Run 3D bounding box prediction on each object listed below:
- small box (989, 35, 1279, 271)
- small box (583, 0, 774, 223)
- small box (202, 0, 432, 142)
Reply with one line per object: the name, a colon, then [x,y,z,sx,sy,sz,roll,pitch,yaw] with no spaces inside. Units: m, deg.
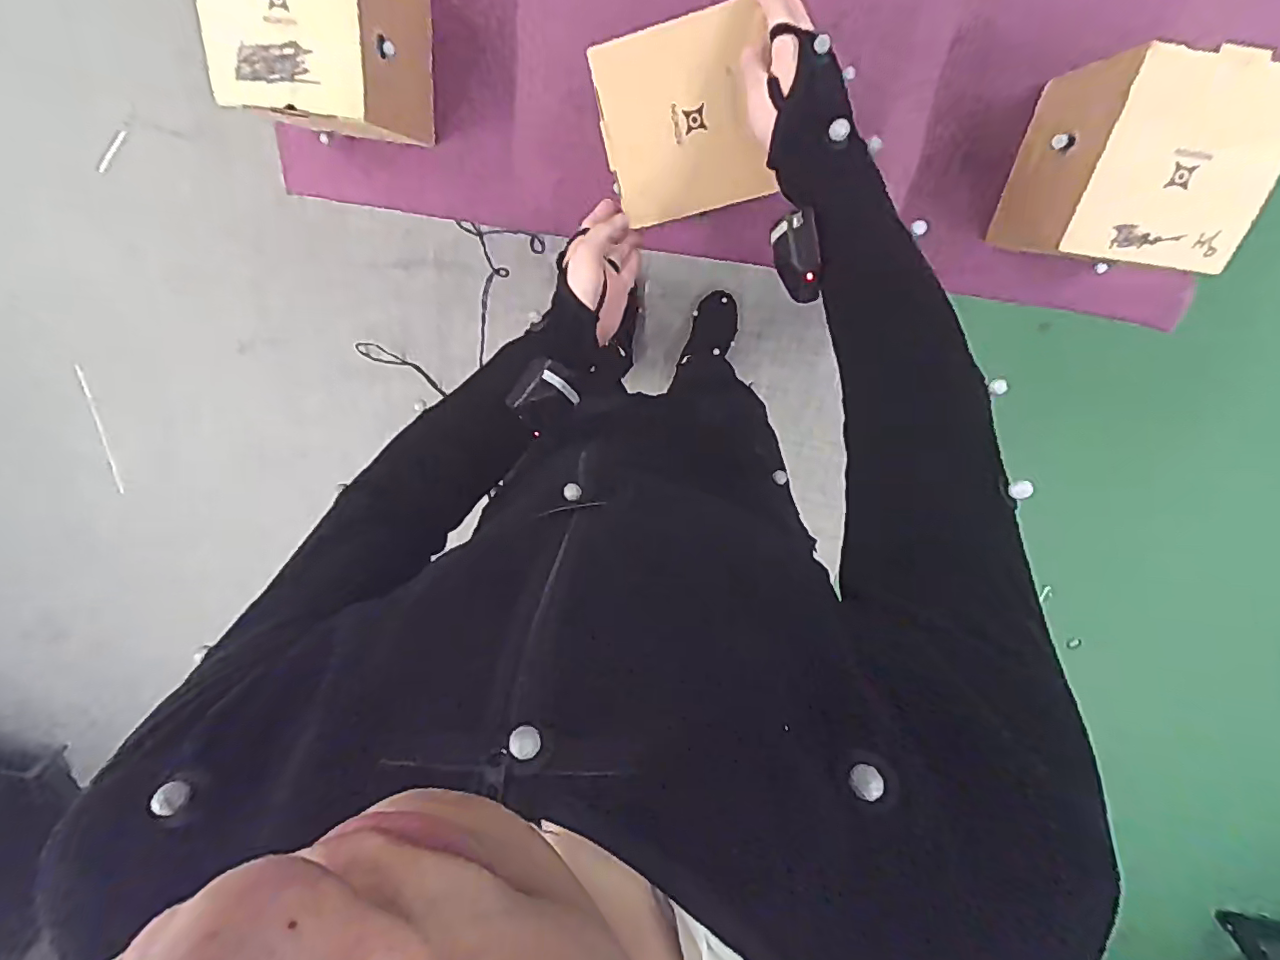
small box: [0.518,-0.336,0.582,0.168,0.176,0.179,10,117,4]
small box: [0.055,-0.398,0.611,0.179,0.176,0.168,-6,118,13]
small box: [-0.351,-0.501,0.613,0.168,0.176,0.179,9,115,3]
